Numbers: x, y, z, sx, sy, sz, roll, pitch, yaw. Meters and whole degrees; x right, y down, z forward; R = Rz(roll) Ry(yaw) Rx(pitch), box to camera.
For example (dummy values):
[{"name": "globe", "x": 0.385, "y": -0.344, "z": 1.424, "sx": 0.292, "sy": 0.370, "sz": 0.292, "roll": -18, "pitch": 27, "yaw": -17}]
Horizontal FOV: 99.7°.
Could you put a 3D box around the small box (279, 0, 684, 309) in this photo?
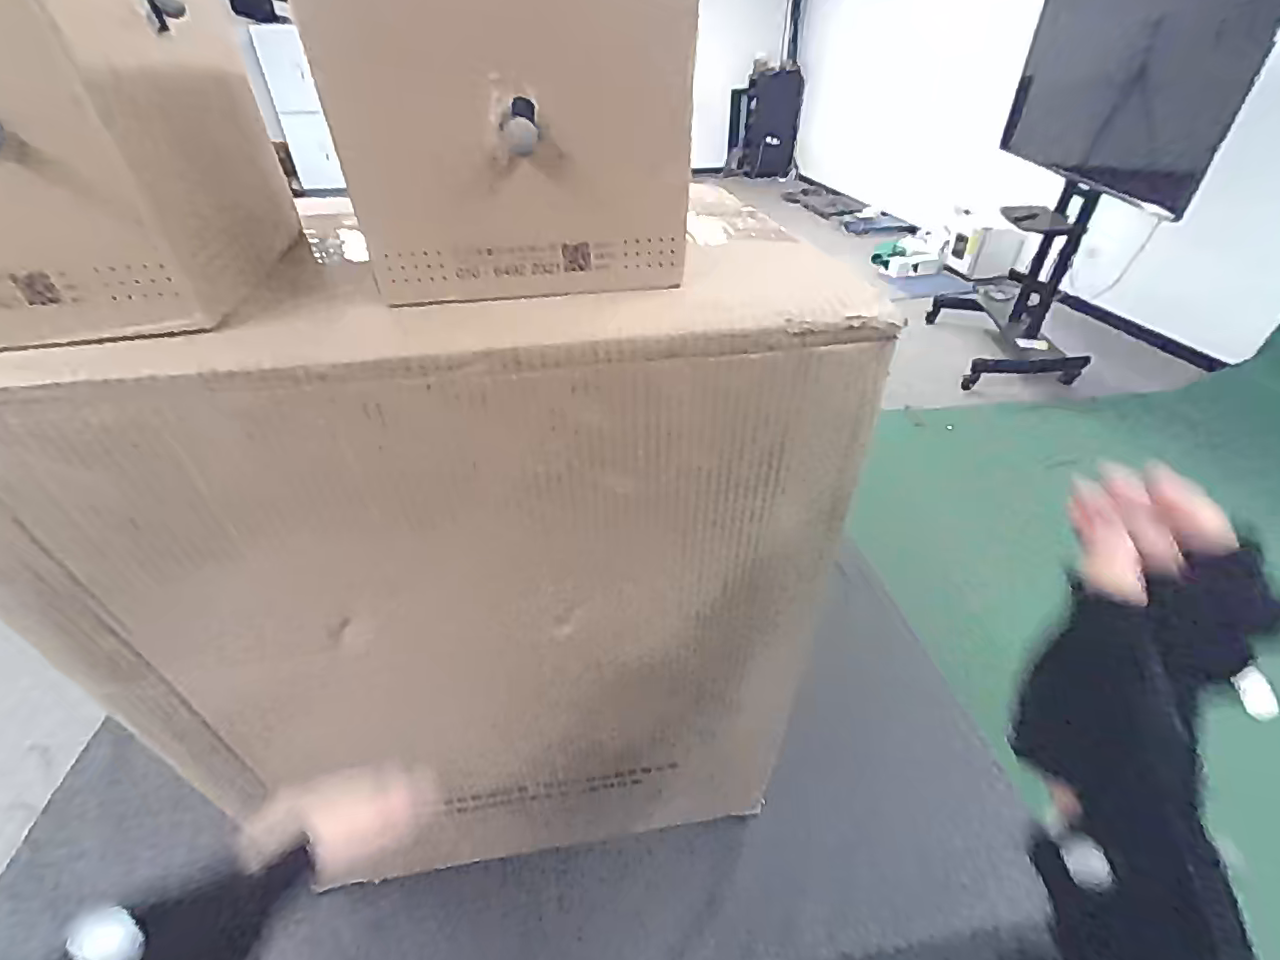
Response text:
[{"name": "small box", "x": -0.070, "y": -0.208, "z": 0.312, "sx": 0.168, "sy": 0.176, "sz": 0.179, "roll": -6, "pitch": 41, "yaw": -7}]

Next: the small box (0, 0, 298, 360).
[{"name": "small box", "x": -0.306, "y": -0.169, "z": 0.272, "sx": 0.168, "sy": 0.176, "sz": 0.179, "roll": -8, "pitch": 39, "yaw": -10}]
